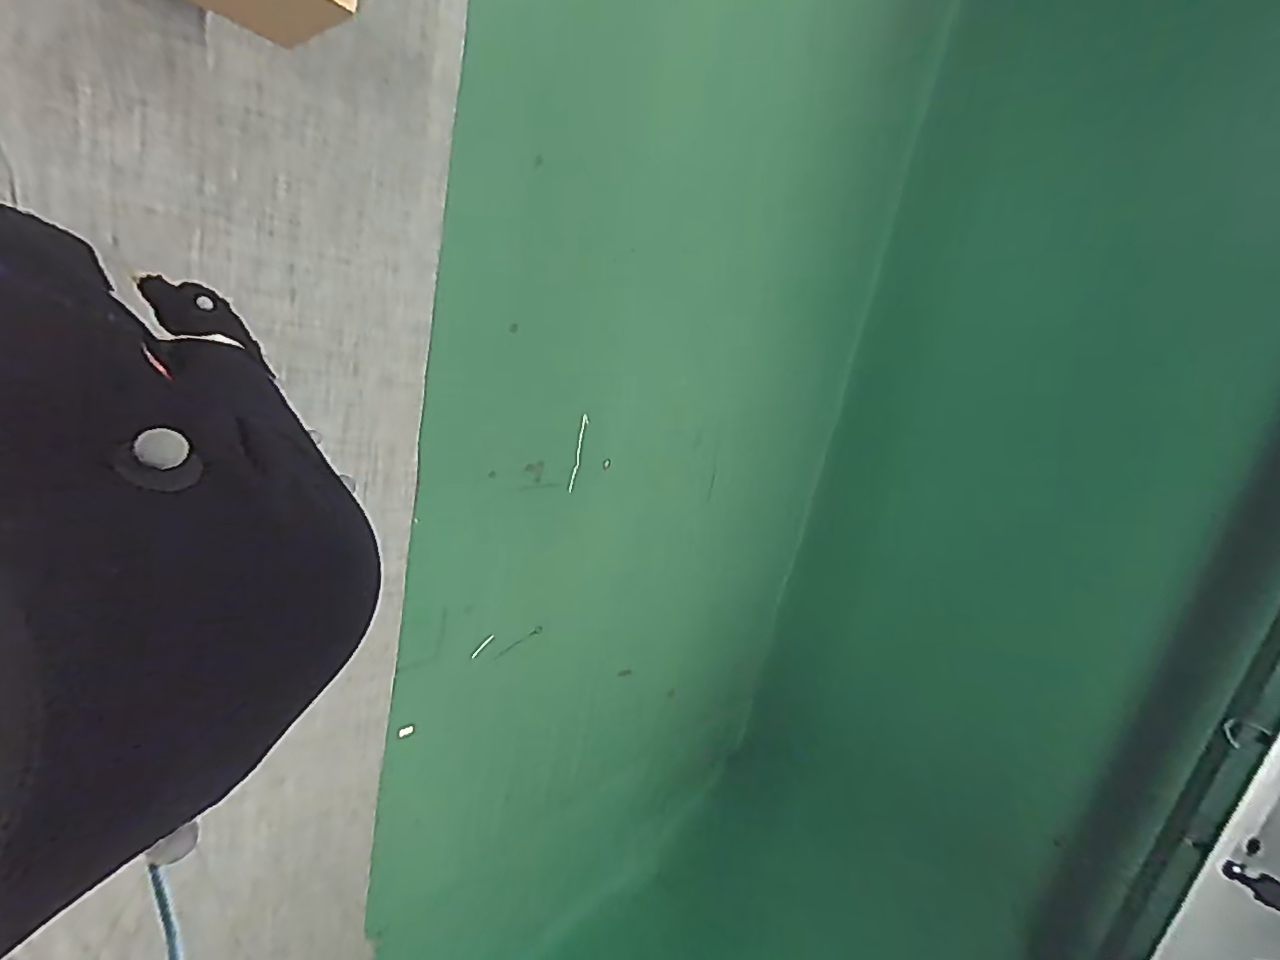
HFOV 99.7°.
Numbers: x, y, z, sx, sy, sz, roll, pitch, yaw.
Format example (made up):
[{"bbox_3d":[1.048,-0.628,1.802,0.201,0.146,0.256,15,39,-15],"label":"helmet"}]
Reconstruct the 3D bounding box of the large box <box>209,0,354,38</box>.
[{"bbox_3d":[-0.647,-0.912,0.744,0.408,0.320,0.320,-2,109,-49],"label":"large box"}]
